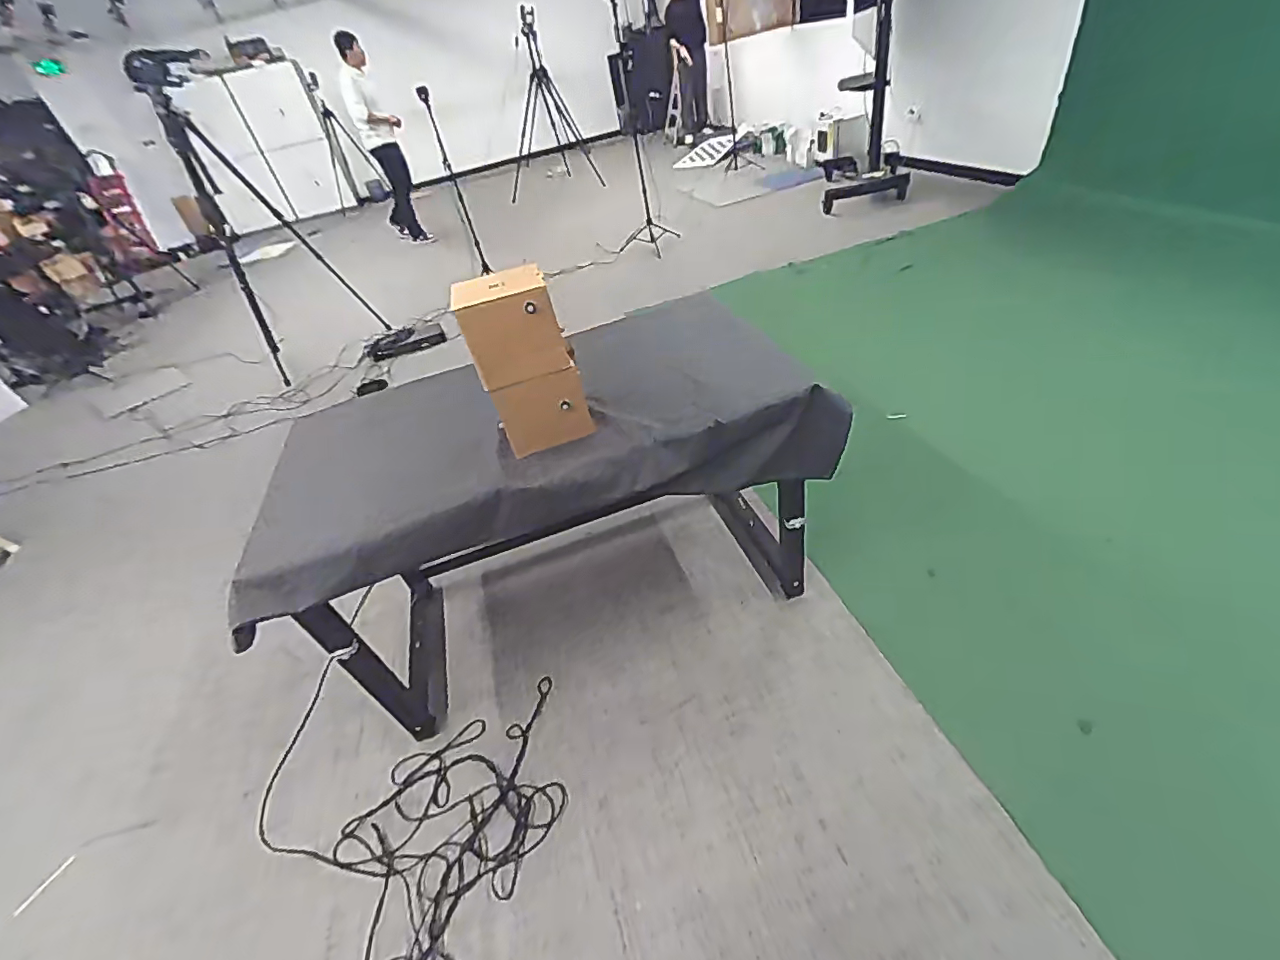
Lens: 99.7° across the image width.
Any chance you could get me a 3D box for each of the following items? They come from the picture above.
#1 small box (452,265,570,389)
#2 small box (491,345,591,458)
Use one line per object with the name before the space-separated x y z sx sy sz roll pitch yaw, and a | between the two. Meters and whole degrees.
small box | -0.252 -0.298 1.062 0.179 0.176 0.168 -18 38 -6
small box | -0.212 -0.175 1.161 0.179 0.176 0.168 -20 38 -6
